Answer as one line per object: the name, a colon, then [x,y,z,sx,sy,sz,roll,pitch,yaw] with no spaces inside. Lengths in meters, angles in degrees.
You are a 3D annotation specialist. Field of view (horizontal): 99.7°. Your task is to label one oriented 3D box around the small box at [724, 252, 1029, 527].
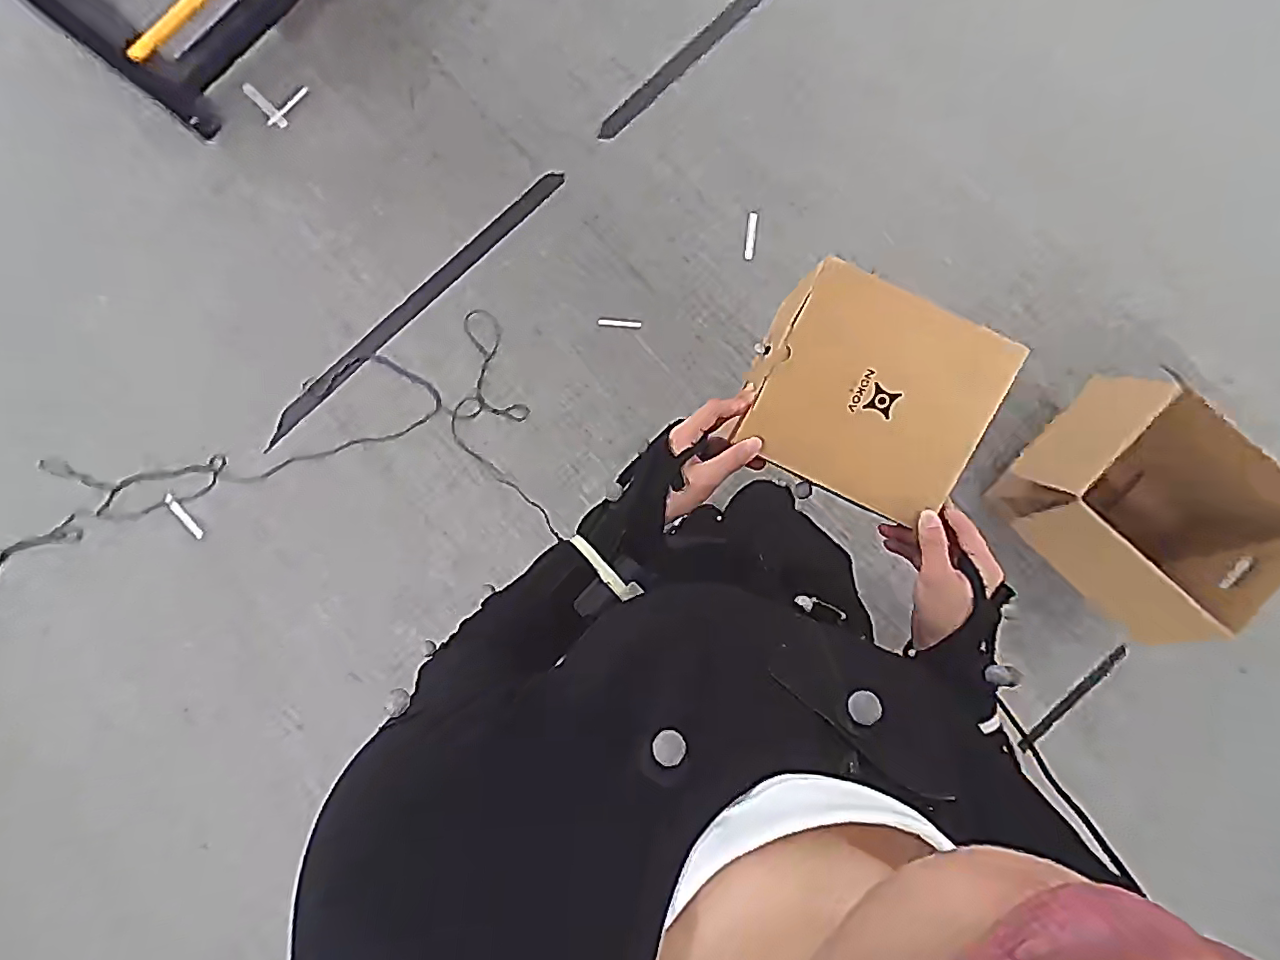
small box: [0.193,-0.079,0.503,0.179,0.176,0.168,25,98,2]
